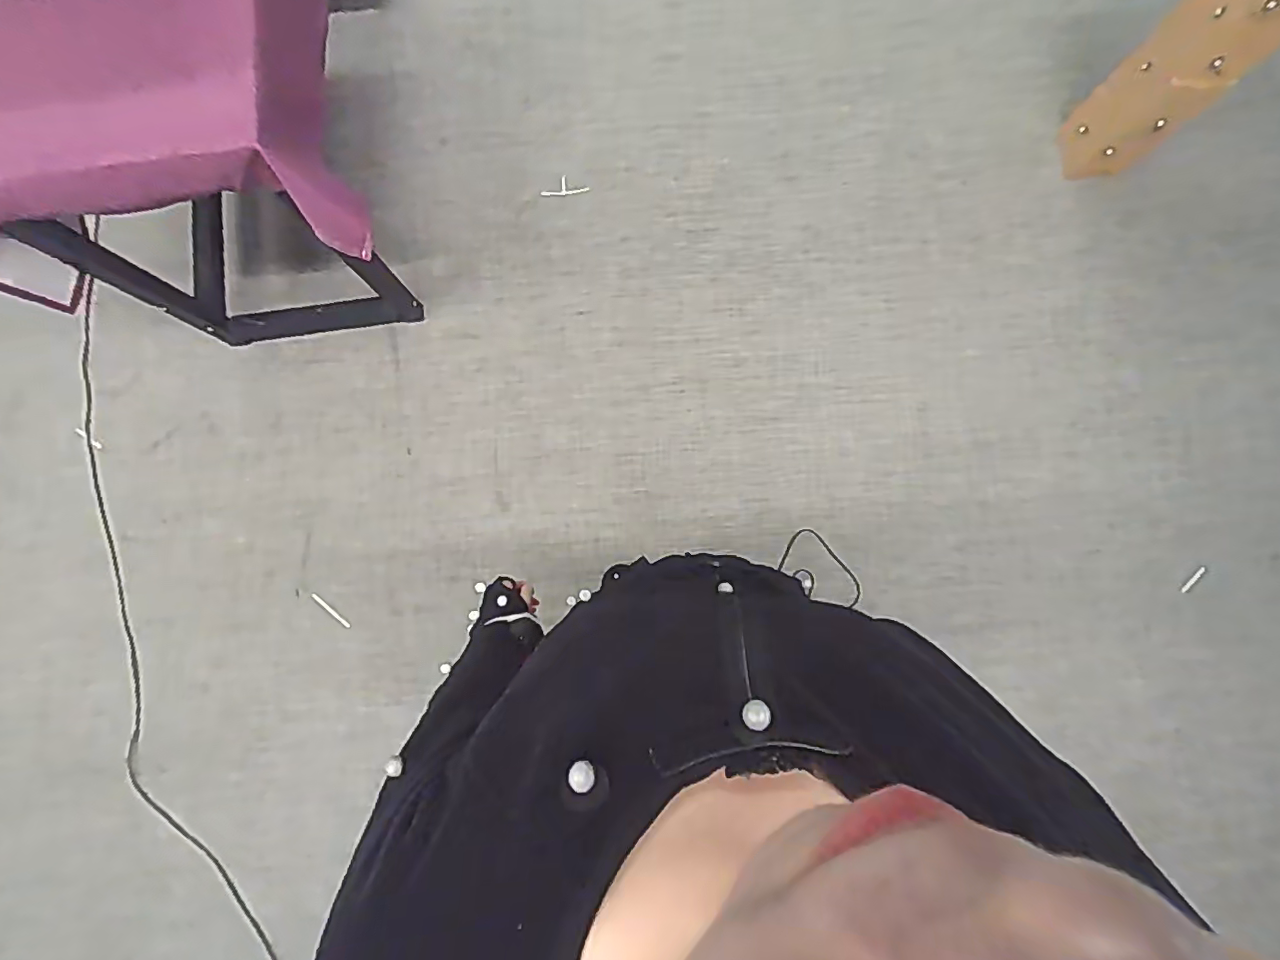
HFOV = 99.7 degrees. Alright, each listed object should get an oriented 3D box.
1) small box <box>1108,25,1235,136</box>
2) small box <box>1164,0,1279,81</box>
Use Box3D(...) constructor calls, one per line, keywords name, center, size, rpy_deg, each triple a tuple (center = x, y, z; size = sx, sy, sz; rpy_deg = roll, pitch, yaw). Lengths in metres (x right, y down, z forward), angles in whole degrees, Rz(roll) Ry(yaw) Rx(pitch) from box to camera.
Box3D(name="small box", center=(1.391, -1.051, 1.429), size=(0.168, 0.176, 0.179), rpy_deg=(-1, 82, 1))
Box3D(name="small box", center=(1.389, -1.085, 1.270), size=(0.168, 0.176, 0.179), rpy_deg=(2, 83, 1))
